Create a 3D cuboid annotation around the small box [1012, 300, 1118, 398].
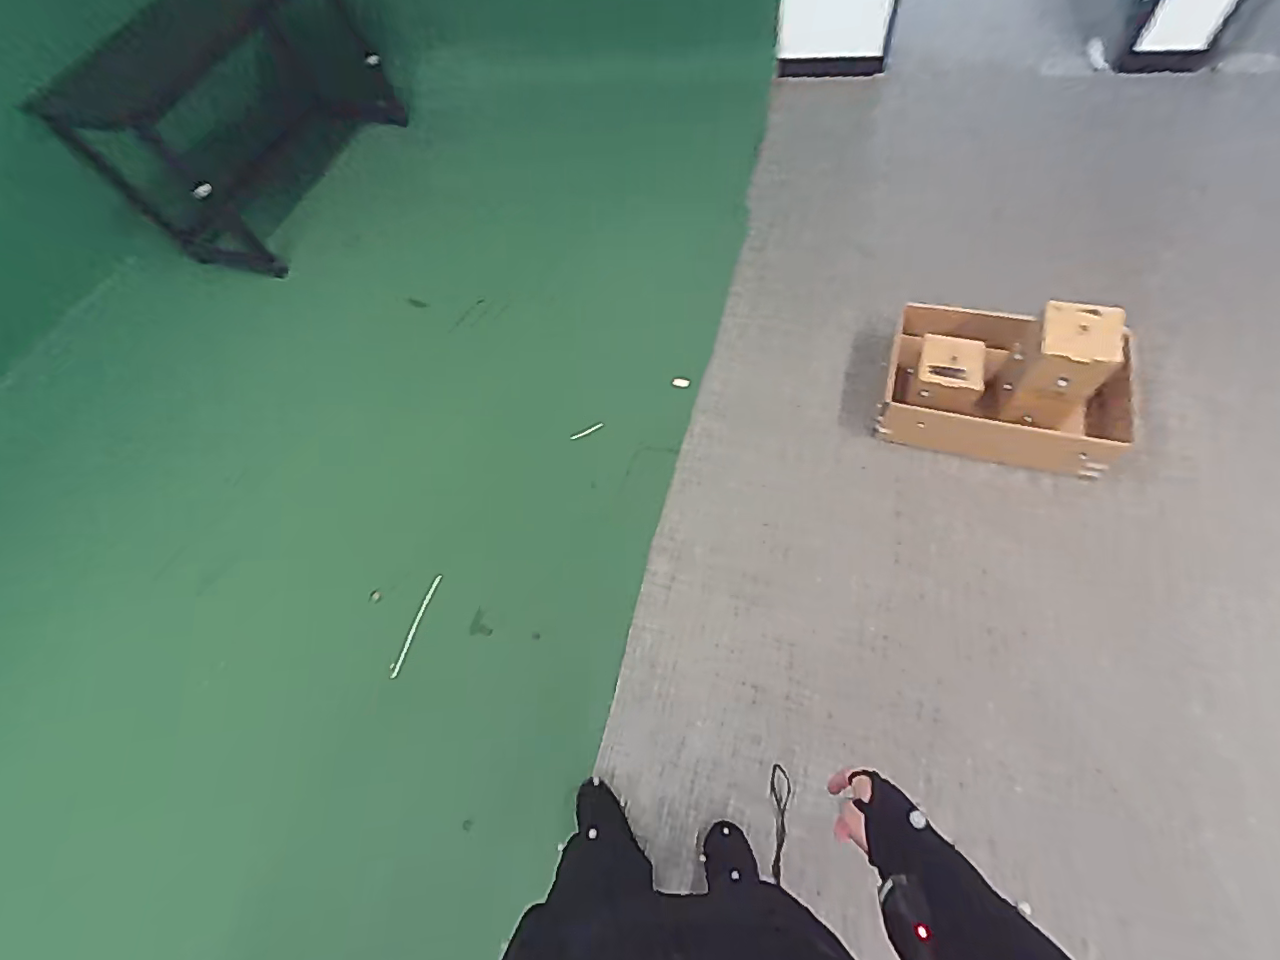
[{"bbox_3d":[1.100,-0.336,1.410,0.168,0.176,0.179,14,69,17],"label":"small box"}]
